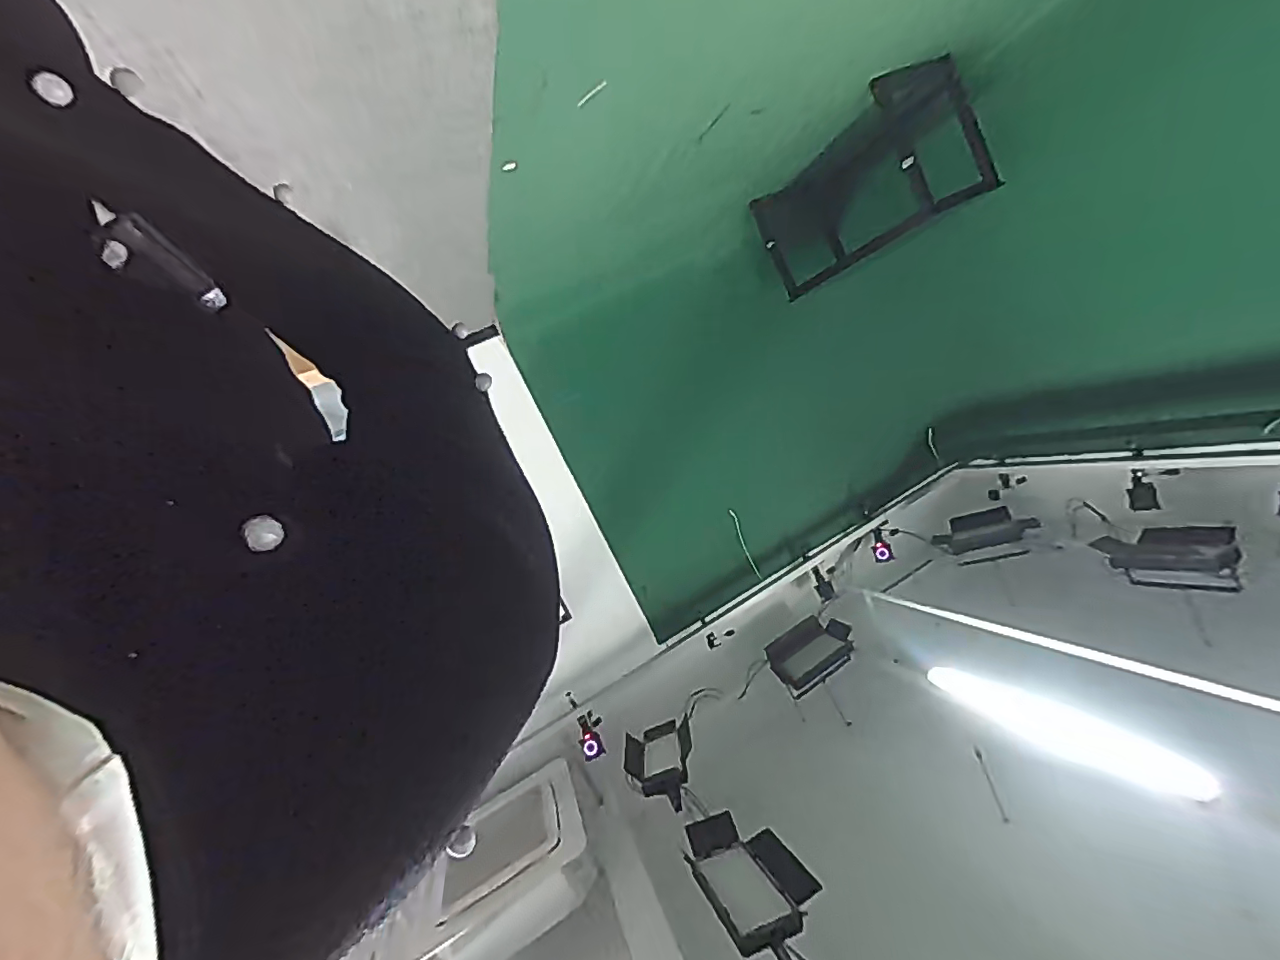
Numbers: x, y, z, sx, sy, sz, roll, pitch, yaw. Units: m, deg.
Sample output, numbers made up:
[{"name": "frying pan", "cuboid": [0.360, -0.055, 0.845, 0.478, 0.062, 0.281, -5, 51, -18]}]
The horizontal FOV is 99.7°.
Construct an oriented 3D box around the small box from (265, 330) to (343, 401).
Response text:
[{"name": "small box", "cuboid": [-1.148, -0.393, 1.856, 0.168, 0.176, 0.179, -27, -176, -24]}]
